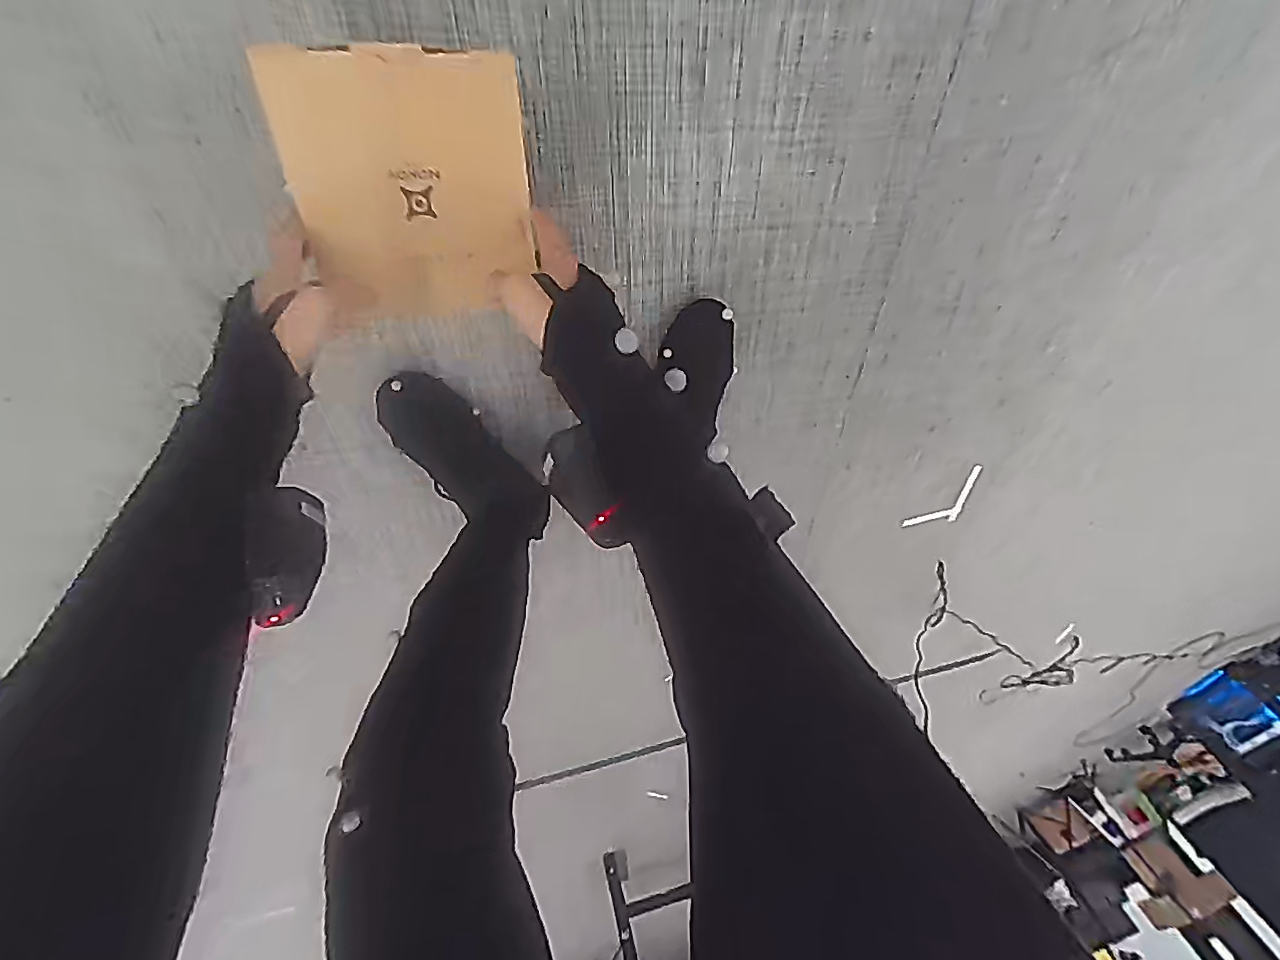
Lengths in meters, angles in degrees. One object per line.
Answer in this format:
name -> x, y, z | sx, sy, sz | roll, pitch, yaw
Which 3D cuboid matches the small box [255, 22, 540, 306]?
small box -> -0.187, -0.266, 0.461 | 0.168, 0.176, 0.179 | -10, 127, -14
